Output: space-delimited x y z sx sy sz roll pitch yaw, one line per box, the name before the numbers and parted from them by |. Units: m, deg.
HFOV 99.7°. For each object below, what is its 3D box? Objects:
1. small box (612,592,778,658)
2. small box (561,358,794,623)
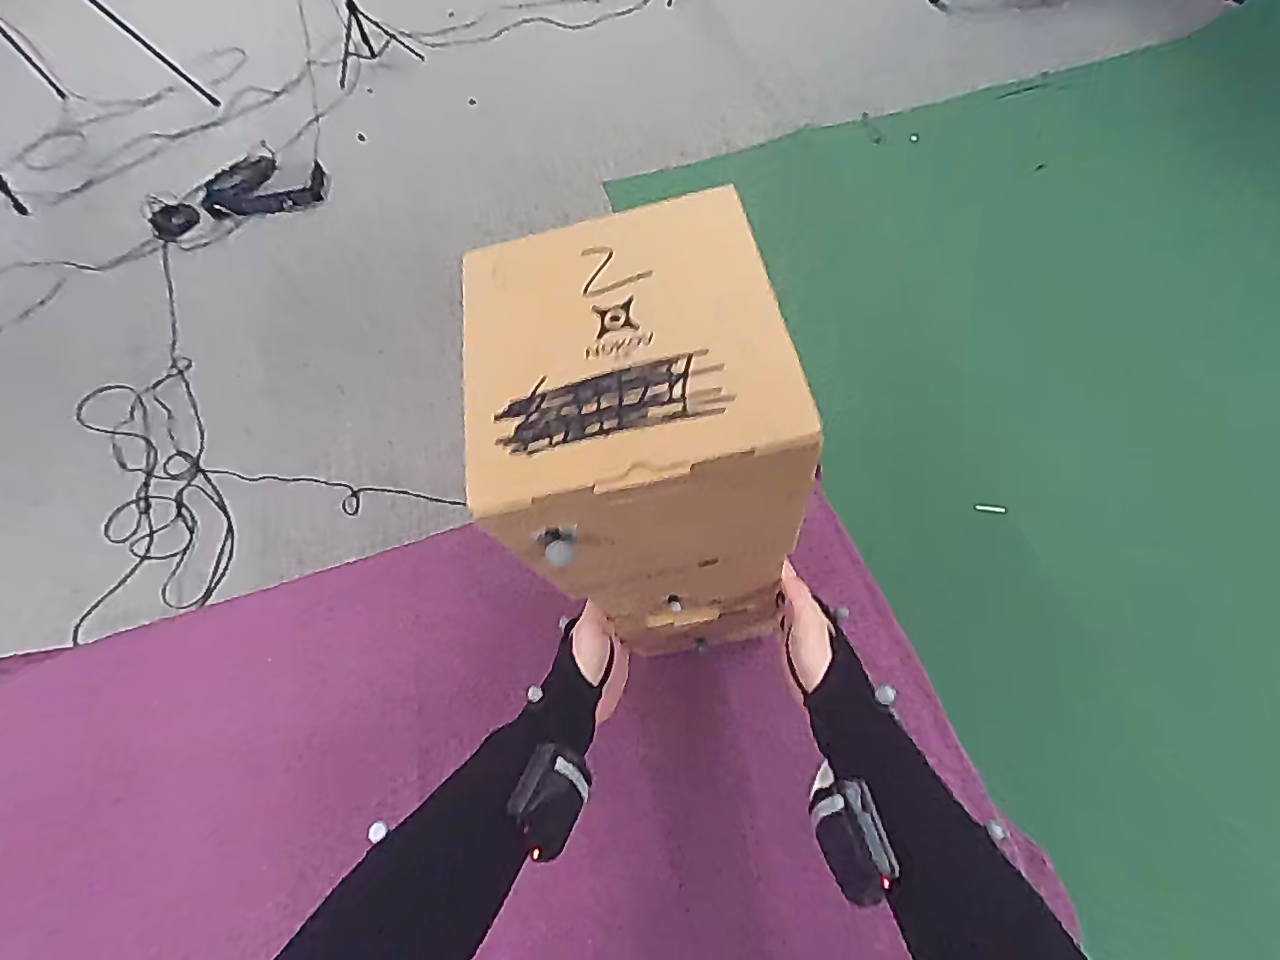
small box | 0.056 0.099 0.635 0.168 0.176 0.179 -12 64 5
small box | 0.031 0.019 0.495 0.168 0.176 0.179 -10 64 5
